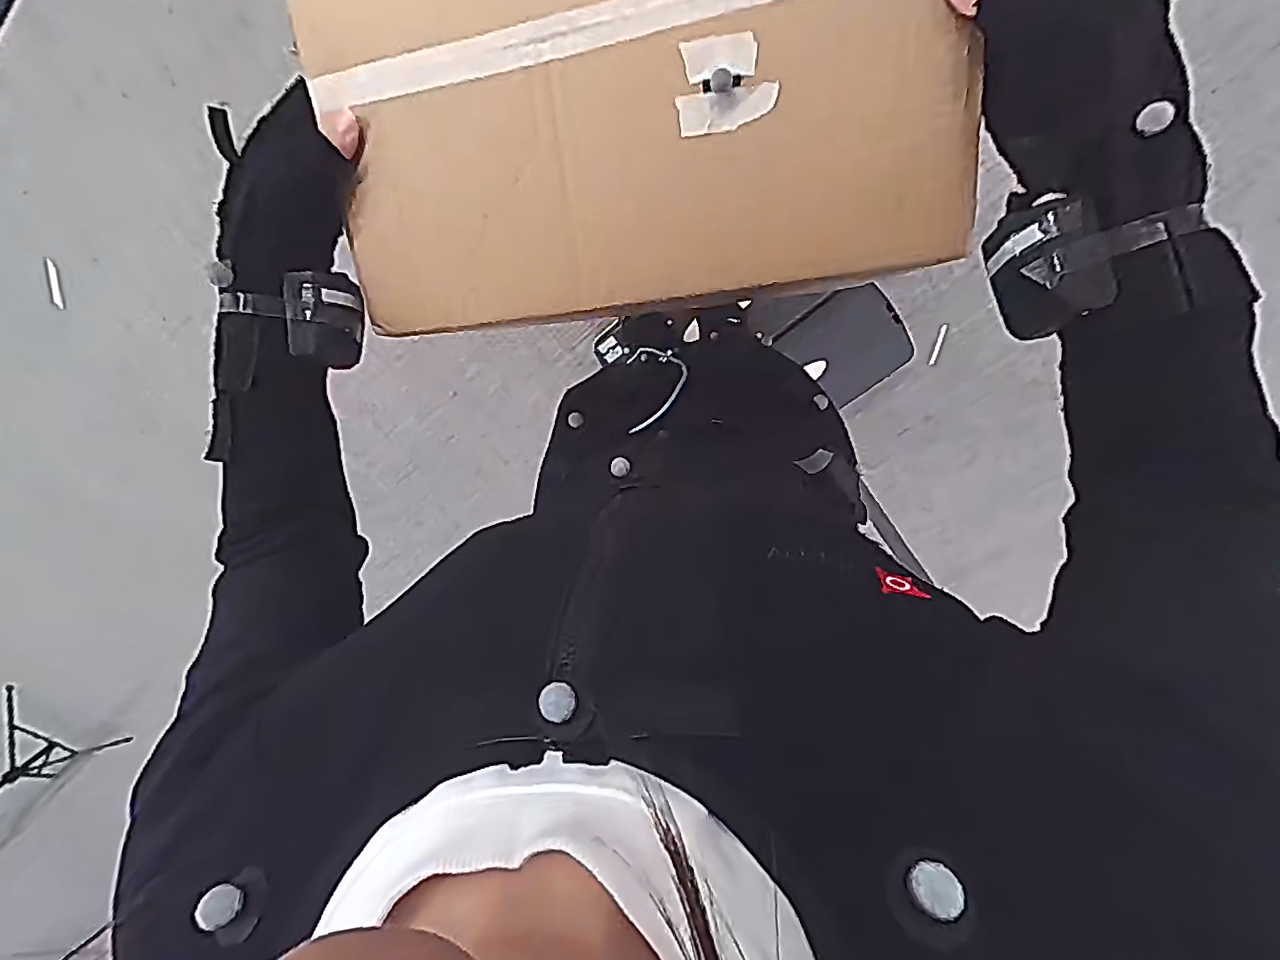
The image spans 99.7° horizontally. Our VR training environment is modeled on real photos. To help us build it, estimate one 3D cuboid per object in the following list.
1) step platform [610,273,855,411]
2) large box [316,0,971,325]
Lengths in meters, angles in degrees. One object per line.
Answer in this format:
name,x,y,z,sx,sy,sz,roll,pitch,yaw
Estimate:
step platform,0.248,-0.482,1.380,0.684,0.204,0.286,-38,105,16
large box,0.010,-0.321,0.469,0.408,0.320,0.320,-4,107,12
